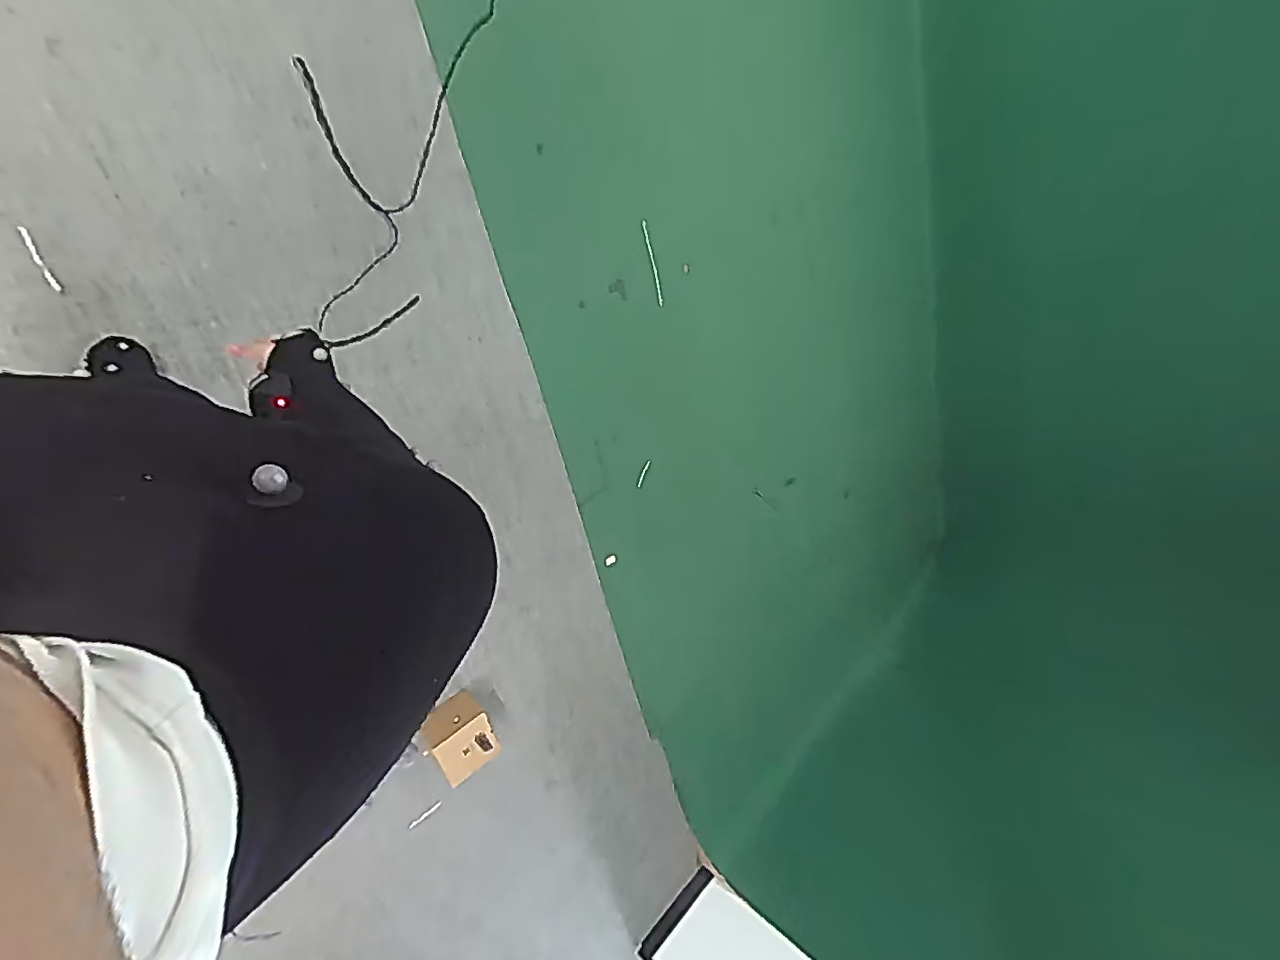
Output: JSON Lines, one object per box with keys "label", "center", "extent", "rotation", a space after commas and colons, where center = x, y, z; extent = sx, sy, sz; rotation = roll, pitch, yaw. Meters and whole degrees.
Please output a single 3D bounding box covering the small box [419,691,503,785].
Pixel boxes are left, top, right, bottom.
{"label": "small box", "center": [-0.570, 0.810, 1.718], "extent": [0.179, 0.176, 0.168], "rotation": [-30, 115, -33]}
